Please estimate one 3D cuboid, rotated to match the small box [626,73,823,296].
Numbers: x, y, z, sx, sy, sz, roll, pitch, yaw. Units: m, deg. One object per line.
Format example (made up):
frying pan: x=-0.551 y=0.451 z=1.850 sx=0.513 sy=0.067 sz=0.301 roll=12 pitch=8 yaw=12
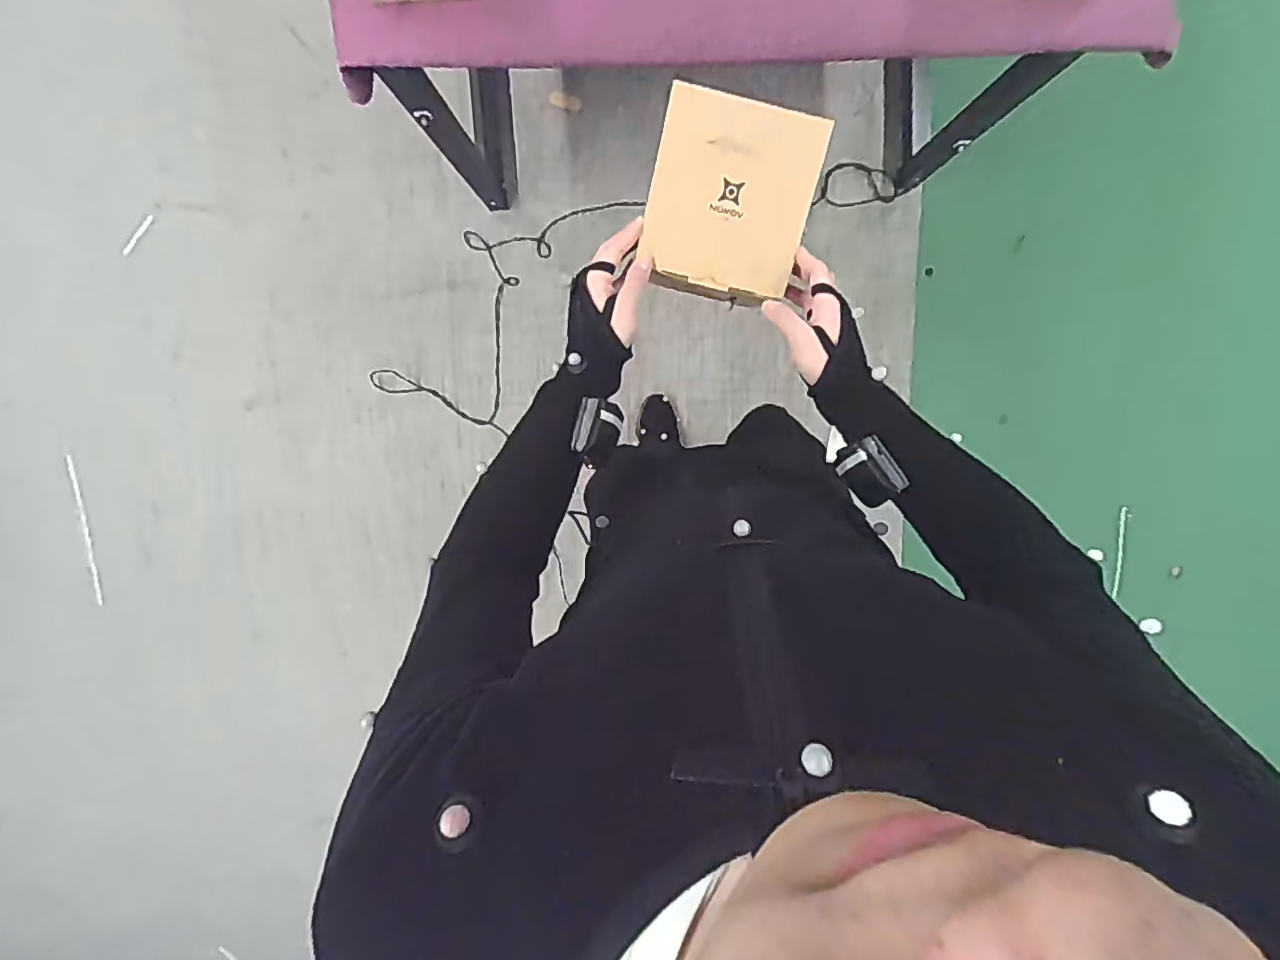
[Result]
small box: x=0.088 y=-0.322 z=0.632 sx=0.168 sy=0.176 sz=0.179 roll=14 pitch=107 yaw=-2
